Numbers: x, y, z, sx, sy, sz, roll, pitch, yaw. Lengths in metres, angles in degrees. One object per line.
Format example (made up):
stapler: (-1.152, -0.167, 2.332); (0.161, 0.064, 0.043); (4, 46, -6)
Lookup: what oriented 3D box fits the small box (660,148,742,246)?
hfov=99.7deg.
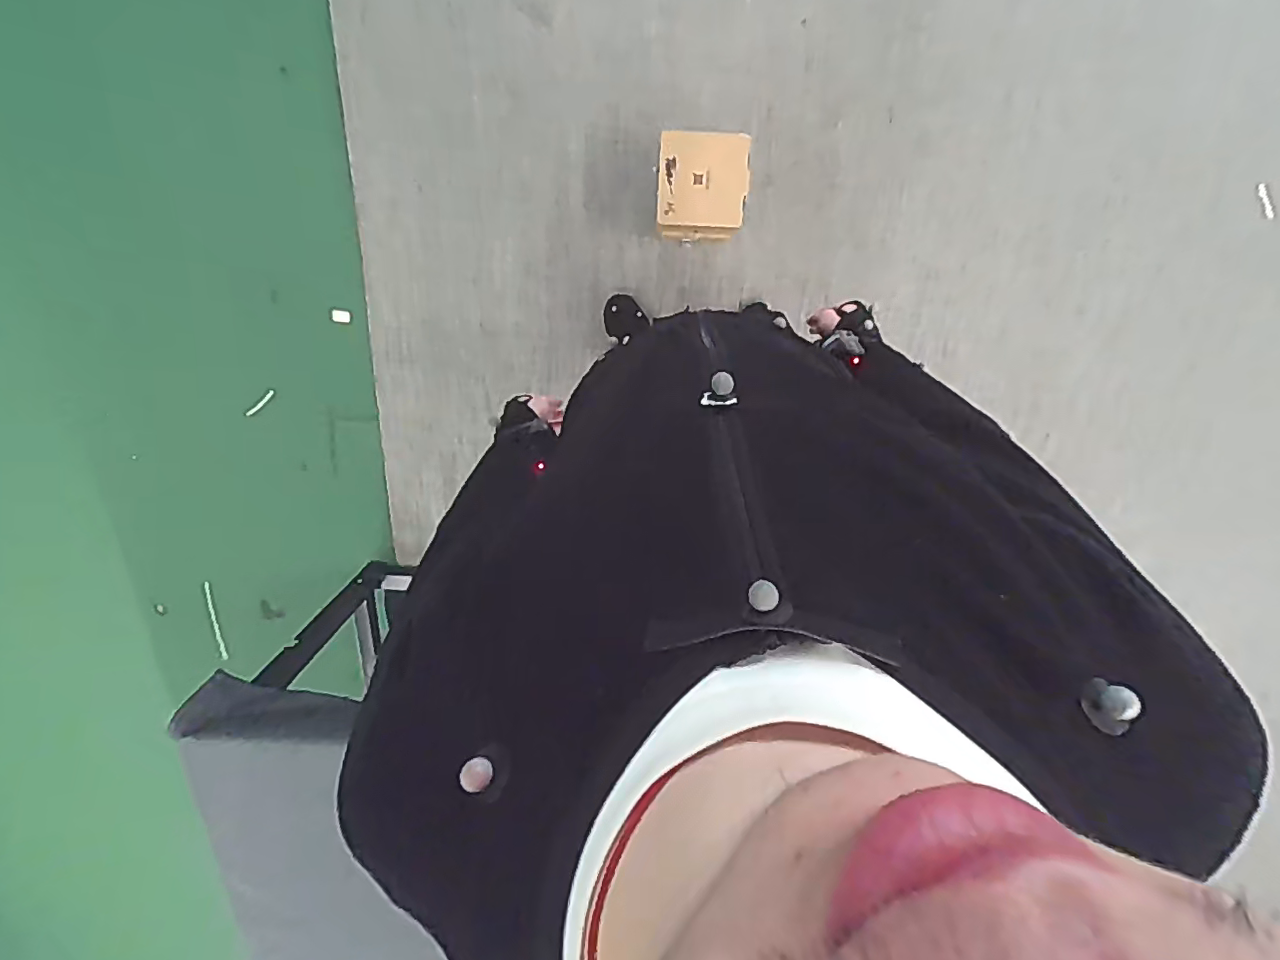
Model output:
small box: (0.137, -0.661, 1.278); (0.168, 0.176, 0.179); (6, 110, 2)
